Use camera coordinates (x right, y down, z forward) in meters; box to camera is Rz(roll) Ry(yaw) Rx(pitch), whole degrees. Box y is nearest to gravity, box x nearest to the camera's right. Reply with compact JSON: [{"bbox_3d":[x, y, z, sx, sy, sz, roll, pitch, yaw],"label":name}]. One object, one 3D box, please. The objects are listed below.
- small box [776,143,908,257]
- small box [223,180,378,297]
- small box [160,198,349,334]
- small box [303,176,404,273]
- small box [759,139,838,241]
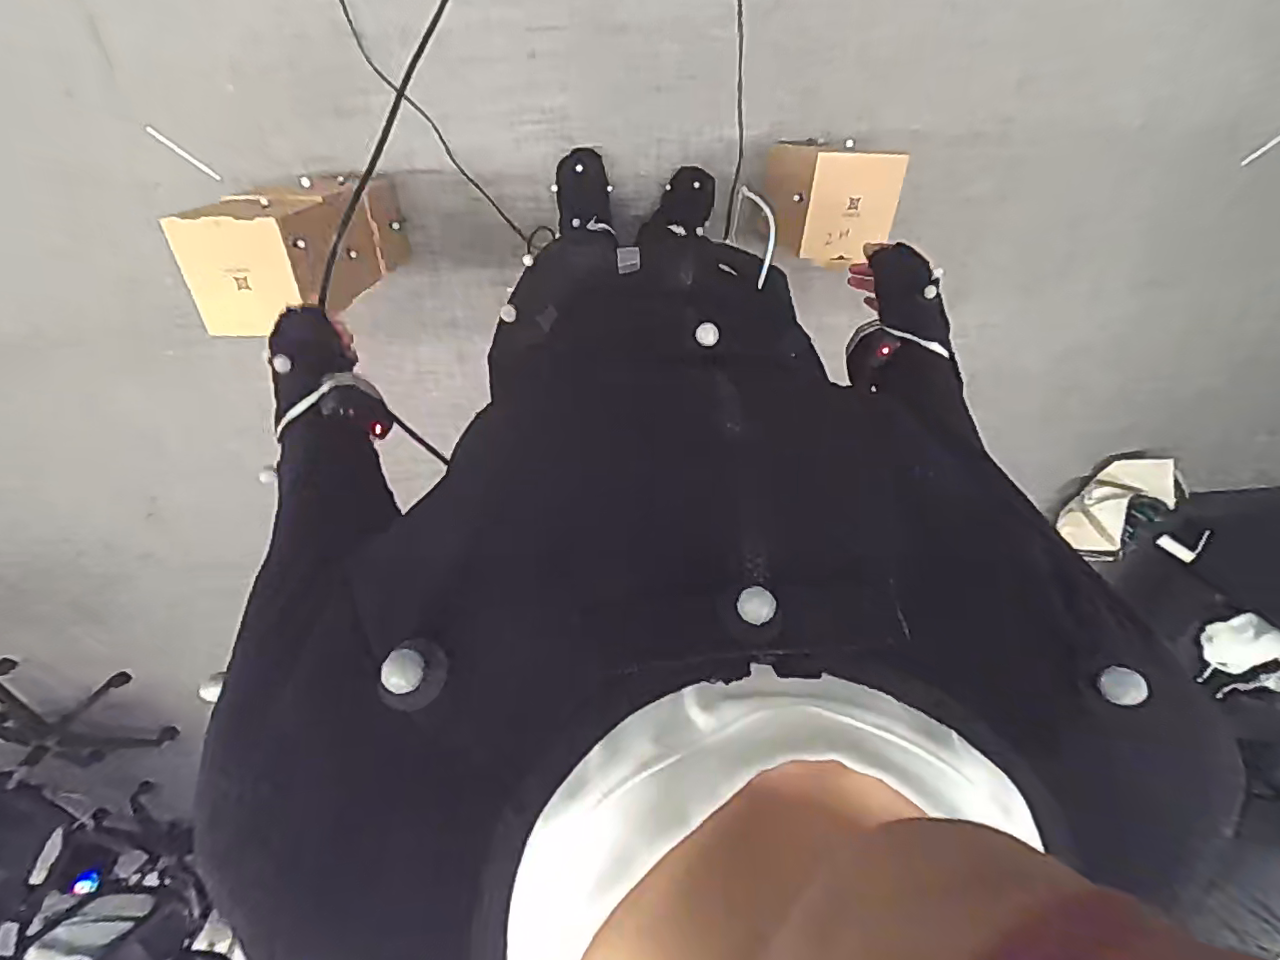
[{"bbox_3d":[0.372,-0.539,1.037,0.168,0.176,0.179,-1,125,-5],"label":"small box"},{"bbox_3d":[-0.617,-0.452,1.013,0.168,0.176,0.179,-1,124,-3],"label":"small box"},{"bbox_3d":[-0.607,-0.352,0.885,0.168,0.176,0.179,-1,124,-3],"label":"small box"},{"bbox_3d":[-0.619,-0.546,1.149,0.179,0.176,0.168,-2,124,-3],"label":"small box"},{"bbox_3d":[0.365,-0.619,1.161,0.168,0.176,0.179,1,125,-6],"label":"small box"}]
